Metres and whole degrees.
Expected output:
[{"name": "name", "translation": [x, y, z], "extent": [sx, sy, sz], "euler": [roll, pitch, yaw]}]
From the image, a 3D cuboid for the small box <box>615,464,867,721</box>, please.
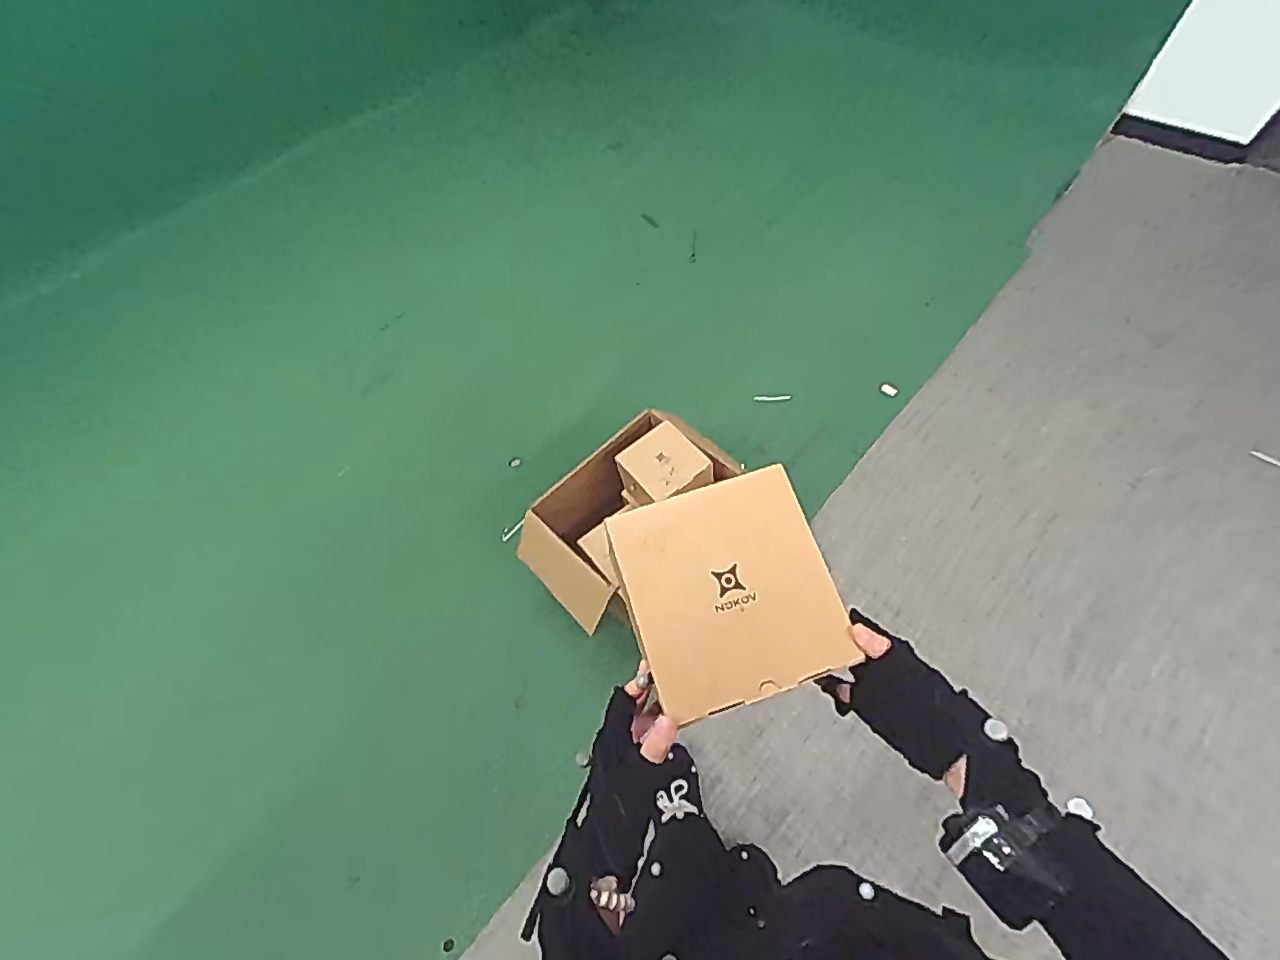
[{"name": "small box", "translation": [0.076, 0.110, 0.518], "extent": [0.168, 0.176, 0.179], "euler": [-17, 73, -7]}]
